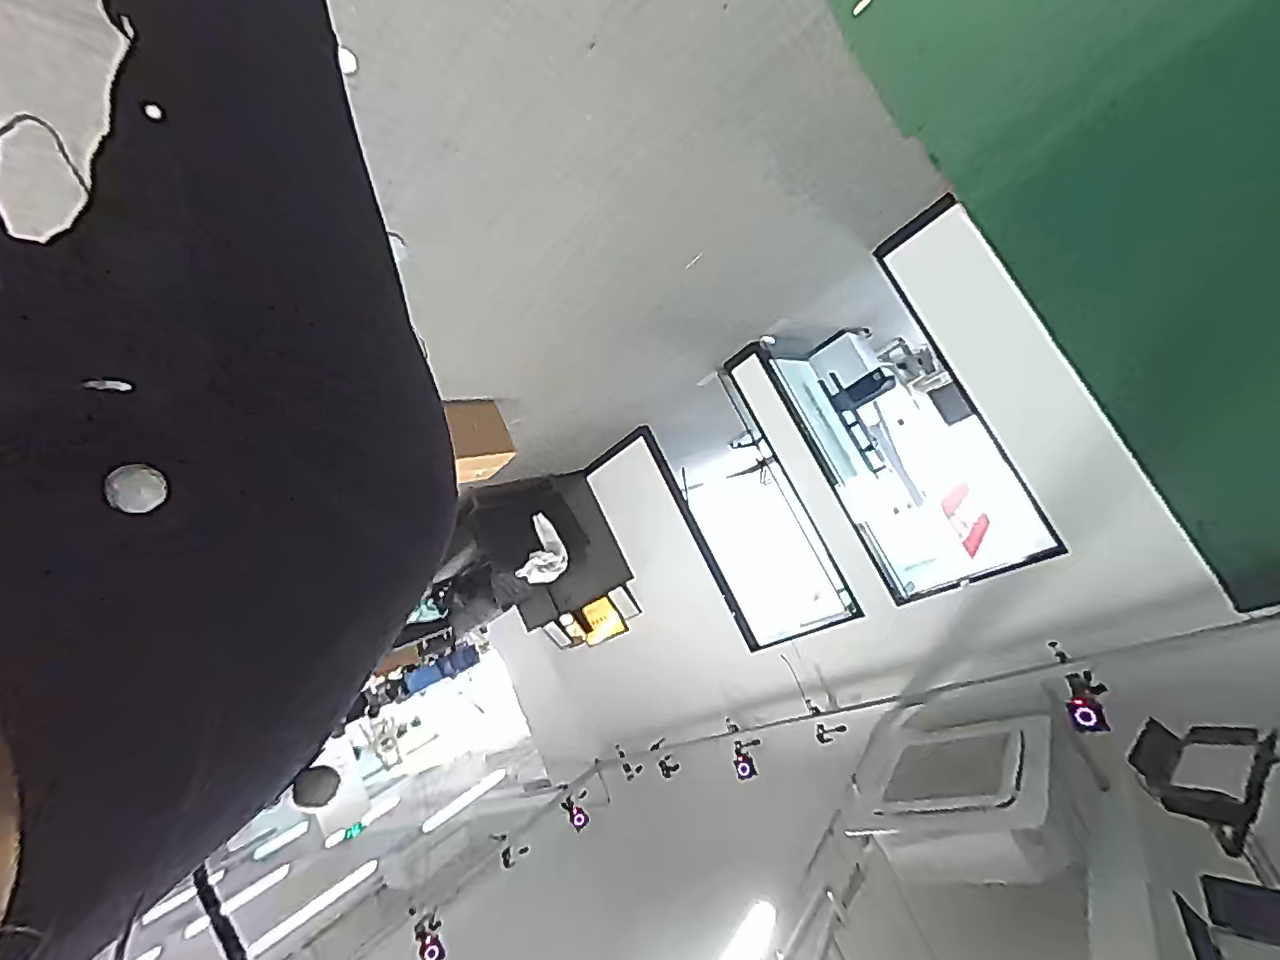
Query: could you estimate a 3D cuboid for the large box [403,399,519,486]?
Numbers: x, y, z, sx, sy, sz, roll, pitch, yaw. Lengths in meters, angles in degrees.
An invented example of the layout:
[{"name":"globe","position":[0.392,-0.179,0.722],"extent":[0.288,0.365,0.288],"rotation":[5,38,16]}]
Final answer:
[{"name":"large box","position":[-0.910,-0.198,2.744],"extent":[0.320,0.320,0.408],"rotation":[-32,169,36]}]
